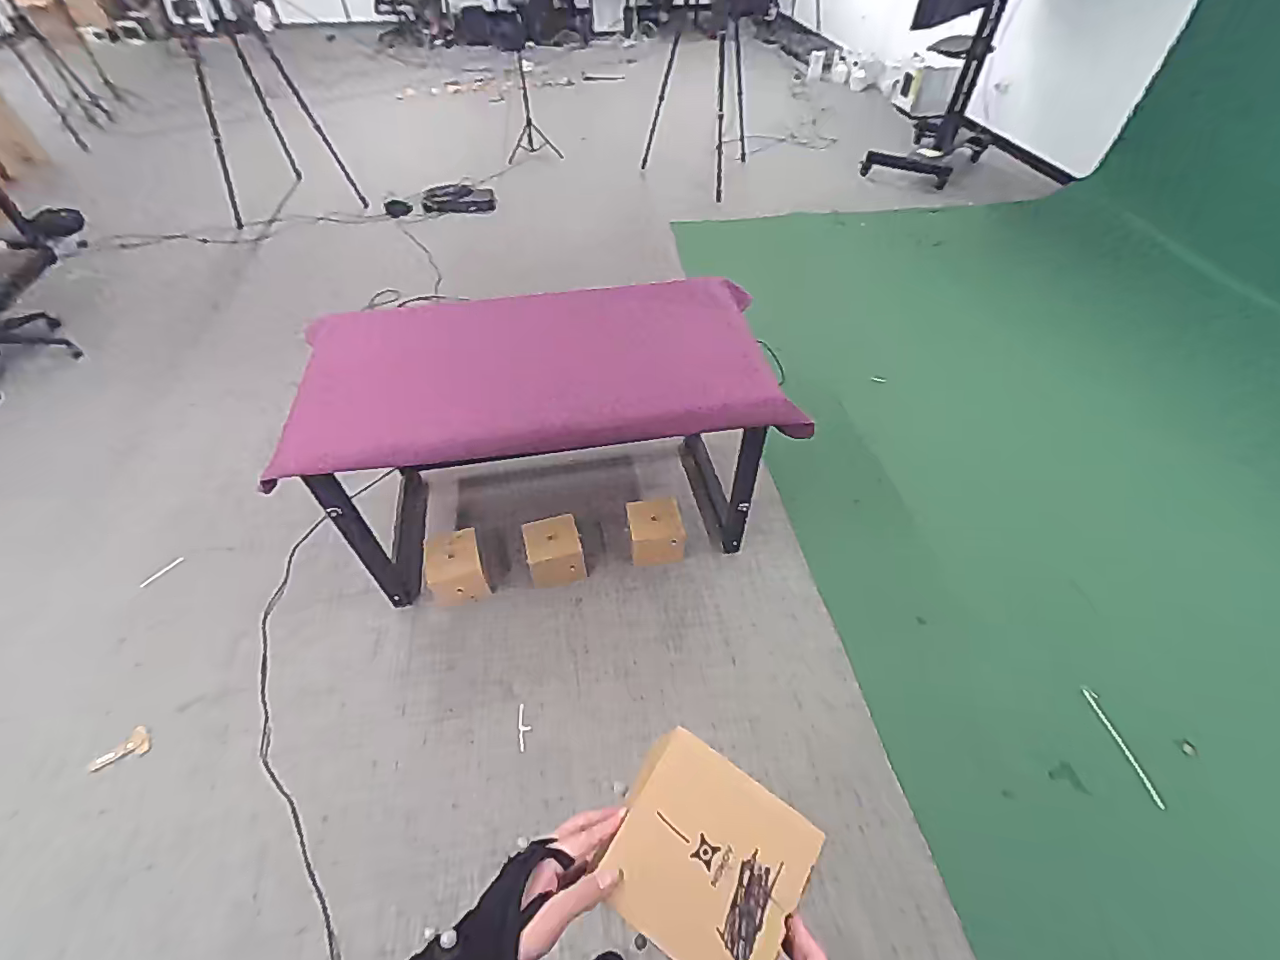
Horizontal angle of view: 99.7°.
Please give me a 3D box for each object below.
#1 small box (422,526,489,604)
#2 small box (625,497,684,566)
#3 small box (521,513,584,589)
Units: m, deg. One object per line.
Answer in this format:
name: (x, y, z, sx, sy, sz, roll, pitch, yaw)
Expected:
small box: (-0.600, 0.285, 1.768, 0.168, 0.176, 0.179, -14, 50, -12)
small box: (0.048, 0.182, 1.863, 0.179, 0.176, 0.168, -7, 49, -7)
small box: (-0.289, 0.239, 1.811, 0.179, 0.176, 0.168, -13, 49, -10)
